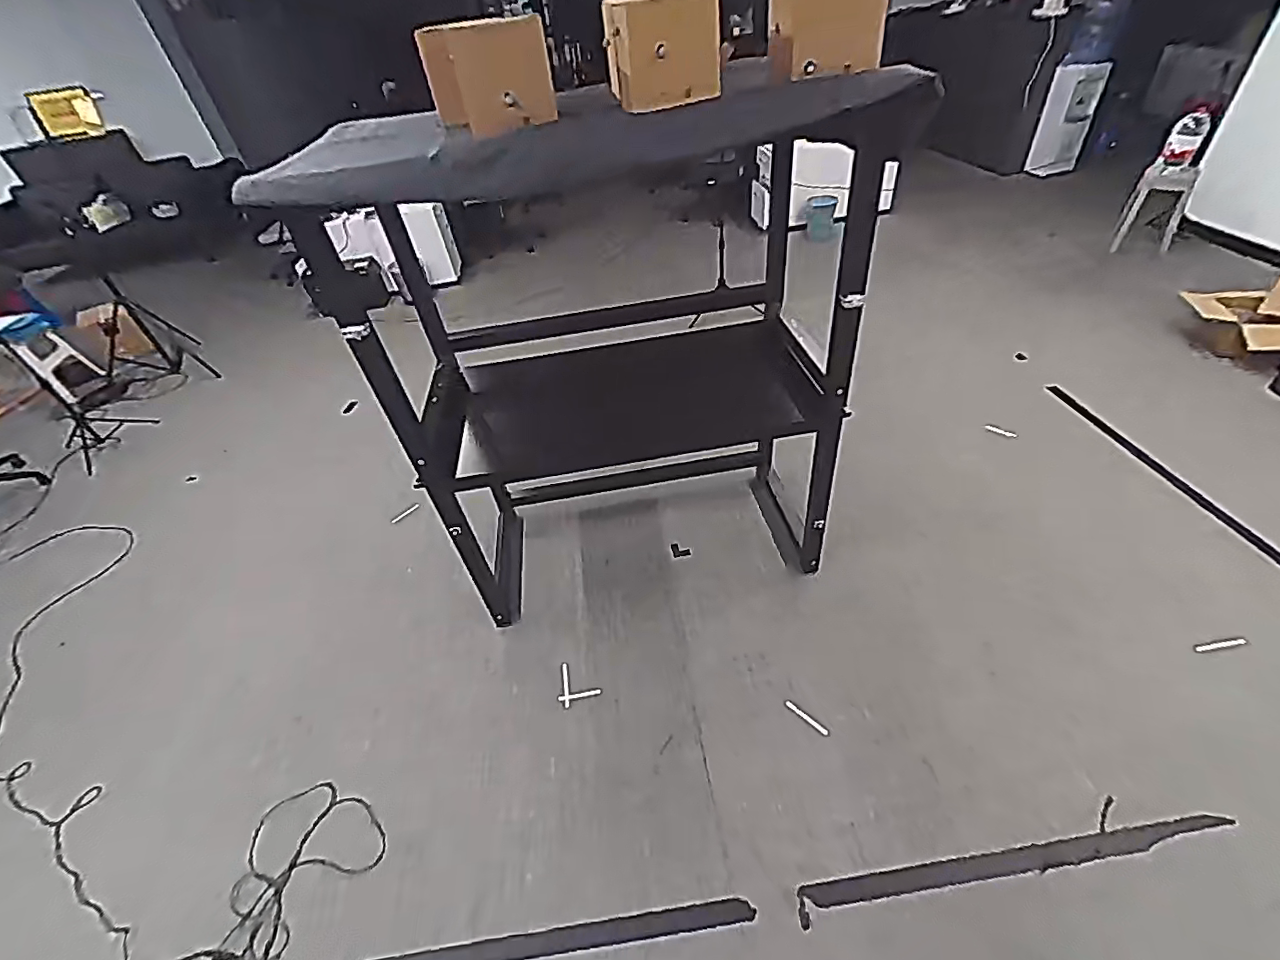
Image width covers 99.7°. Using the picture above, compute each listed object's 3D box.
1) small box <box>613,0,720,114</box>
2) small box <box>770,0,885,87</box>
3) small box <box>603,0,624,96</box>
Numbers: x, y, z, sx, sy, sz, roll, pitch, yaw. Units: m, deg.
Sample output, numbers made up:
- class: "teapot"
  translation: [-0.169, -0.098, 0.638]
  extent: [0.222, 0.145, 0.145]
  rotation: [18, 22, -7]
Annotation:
- class: "small box"
  translation: [0.050, -0.800, 1.011]
  extent: [0.168, 0.176, 0.179]
  rotation: [-11, 40, -3]
- class: "small box"
  translation: [0.347, -0.853, 1.014]
  extent: [0.168, 0.176, 0.179]
  rotation: [-8, 38, 1]
- class: "small box"
  translation: [0.014, -0.982, 1.218]
  extent: [0.168, 0.176, 0.179]
  rotation: [-10, 42, -2]
